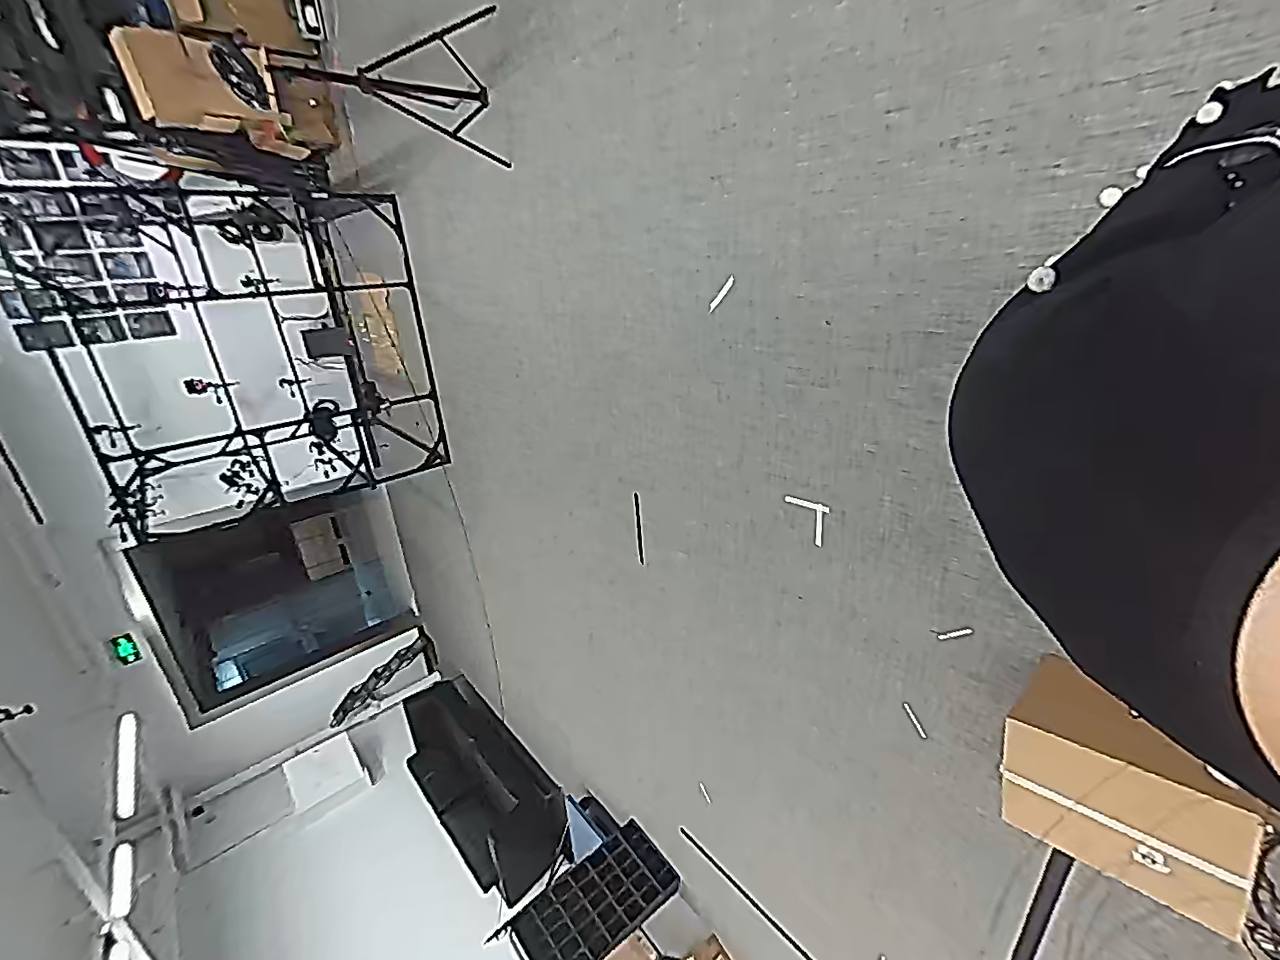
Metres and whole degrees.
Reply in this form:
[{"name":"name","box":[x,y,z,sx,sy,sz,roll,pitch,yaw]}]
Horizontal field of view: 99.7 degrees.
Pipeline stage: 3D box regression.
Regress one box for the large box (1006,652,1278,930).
[{"name":"large box","box":[1.110,0.650,1.224,0.408,0.320,0.320,10,115,49]}]
